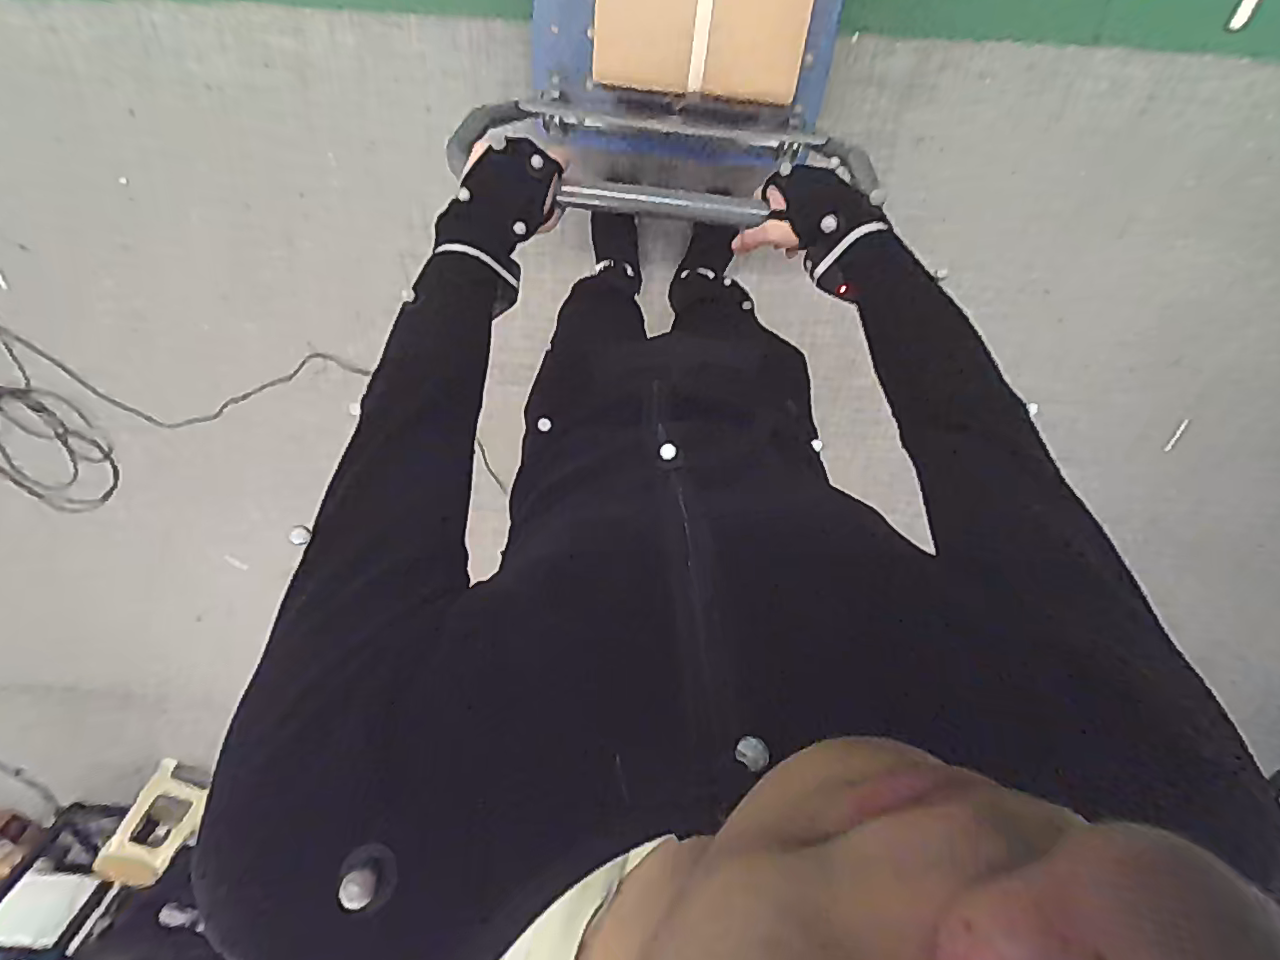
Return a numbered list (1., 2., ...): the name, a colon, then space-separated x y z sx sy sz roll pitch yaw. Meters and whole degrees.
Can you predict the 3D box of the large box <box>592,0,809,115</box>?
1. large box: 0.103 -0.840 0.863 0.320 0.320 0.408 6 122 -1
